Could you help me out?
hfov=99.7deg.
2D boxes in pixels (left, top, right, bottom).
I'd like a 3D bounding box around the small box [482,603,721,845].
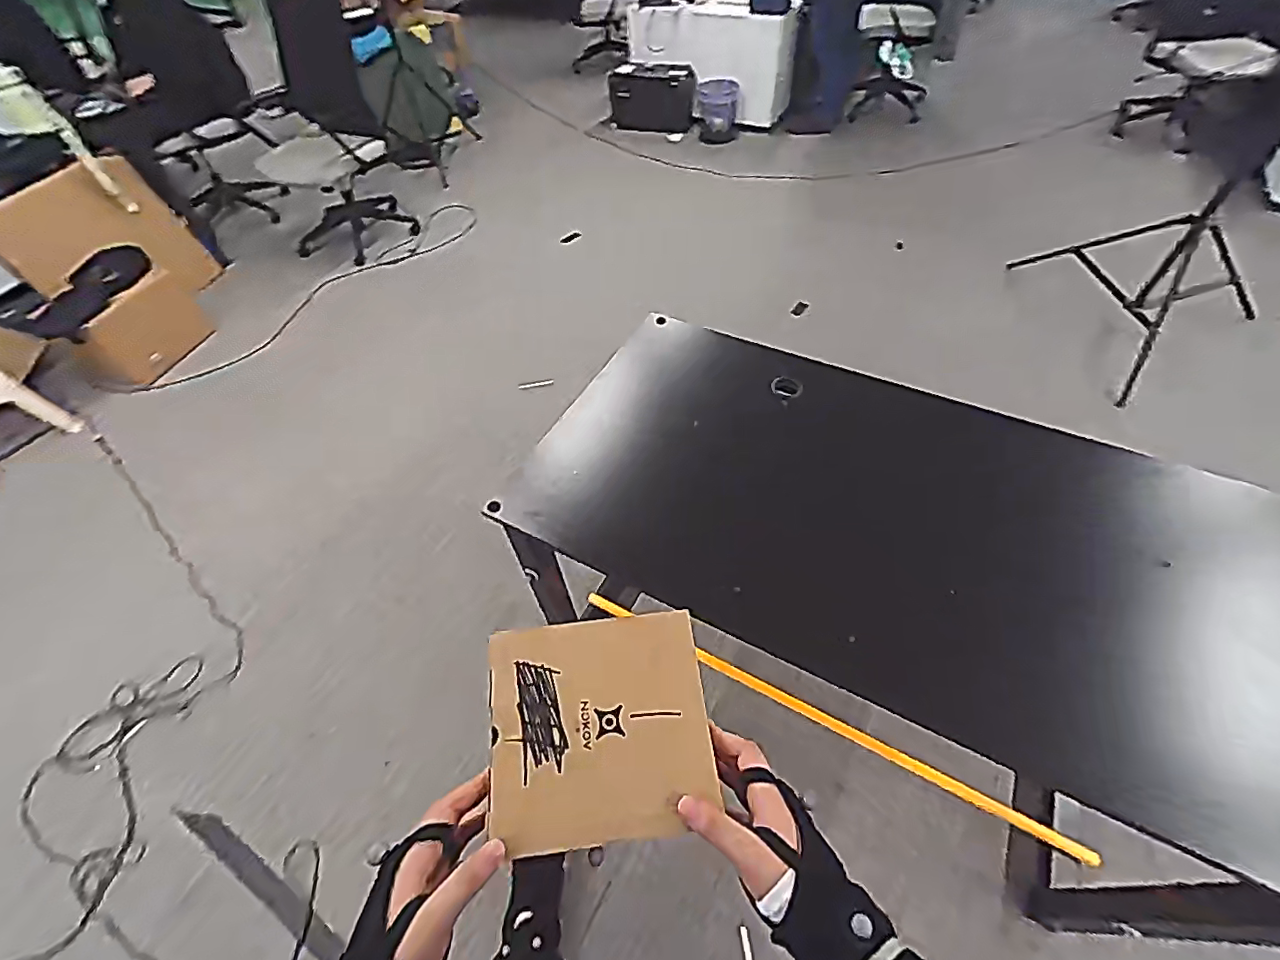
[{"bbox_3d":[-0.034,0.226,0.495,0.179,0.176,0.168,-5,59,-4],"label":"small box"}]
